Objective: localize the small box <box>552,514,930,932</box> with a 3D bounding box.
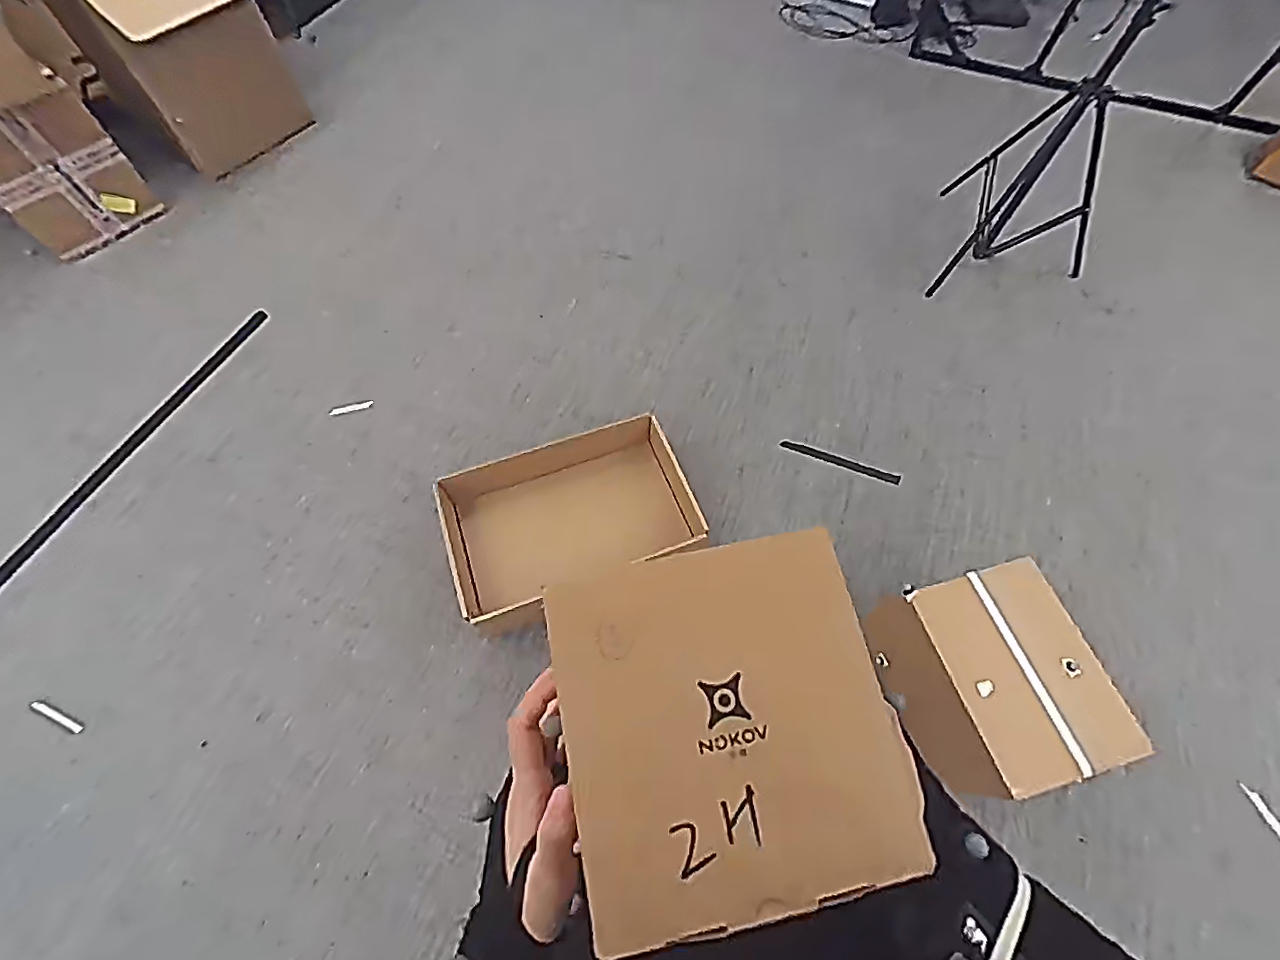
[{"bbox_3d":[0.043,0.139,0.356,0.168,0.176,0.179,-11,73,-5],"label":"small box"}]
